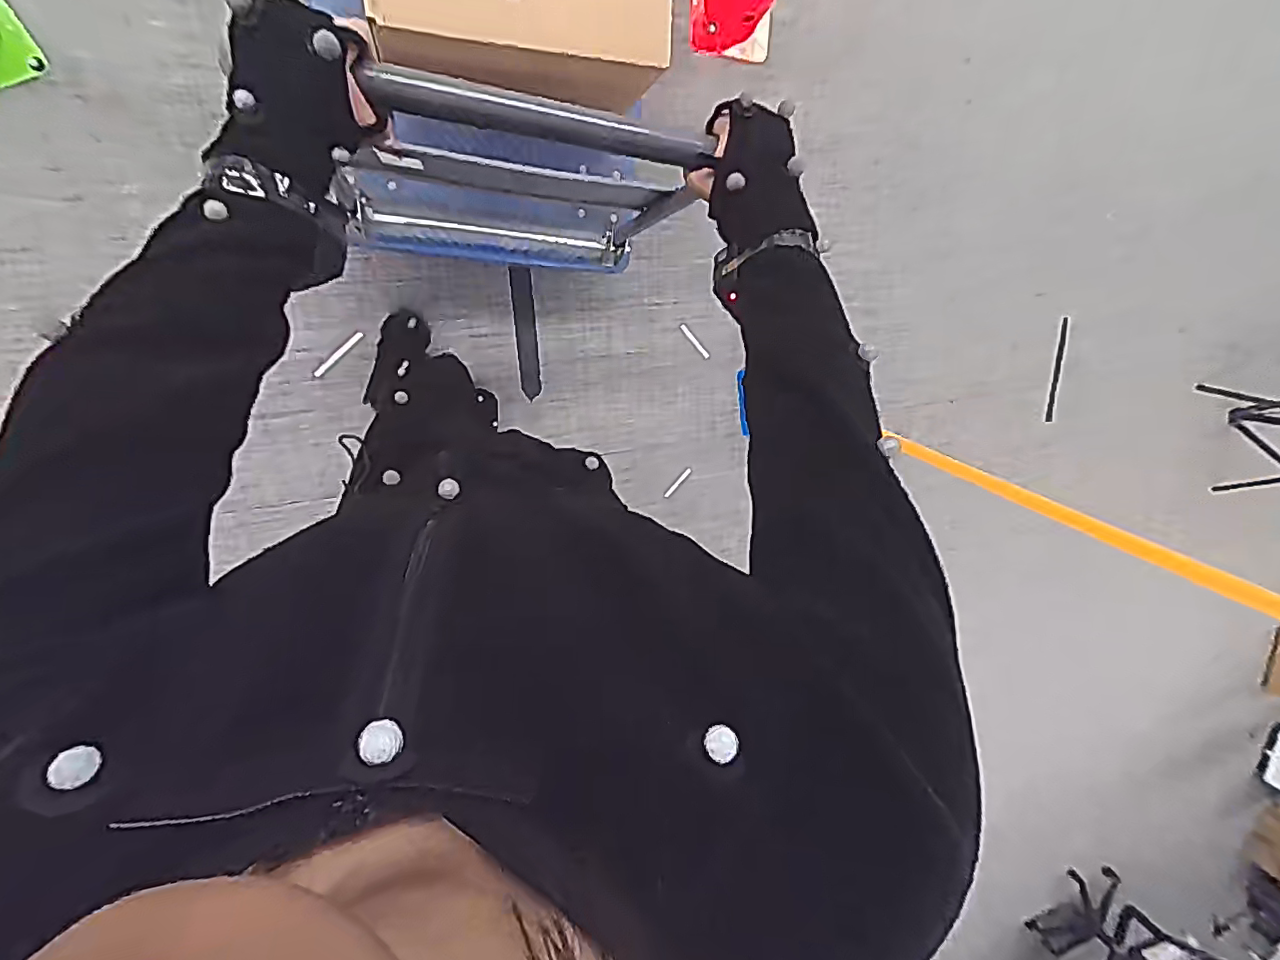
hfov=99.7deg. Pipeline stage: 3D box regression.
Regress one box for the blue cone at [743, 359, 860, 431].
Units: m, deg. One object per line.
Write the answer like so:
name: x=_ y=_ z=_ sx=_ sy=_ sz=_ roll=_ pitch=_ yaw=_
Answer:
blue cone: x=0.441 y=-0.200 z=1.426 sx=0.193 sy=0.380 sz=0.192 roll=-13 pitch=110 yaw=-15

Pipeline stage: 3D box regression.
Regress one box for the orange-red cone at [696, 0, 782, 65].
orange-red cone: x=0.281 y=-1.028 z=1.081 sx=0.199 sy=0.360 sz=0.198 roll=-3 pitch=109 yaw=-20
